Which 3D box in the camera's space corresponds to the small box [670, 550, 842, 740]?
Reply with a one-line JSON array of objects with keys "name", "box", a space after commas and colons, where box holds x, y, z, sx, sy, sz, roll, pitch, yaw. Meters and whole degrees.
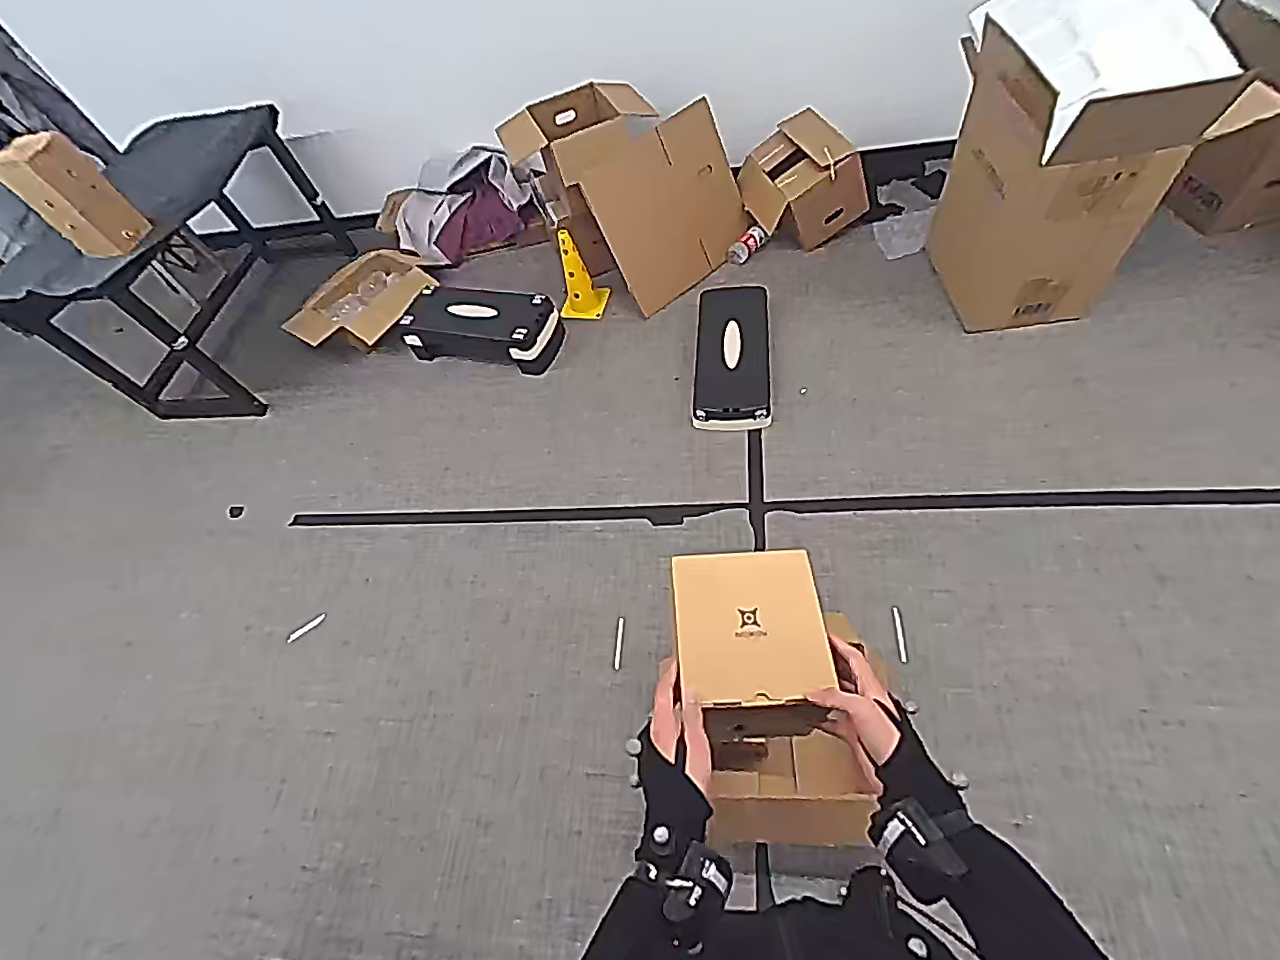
[{"name": "small box", "box": [0.123, 0.203, 0.659, 0.168, 0.176, 0.179, -3, 54, 0]}]
